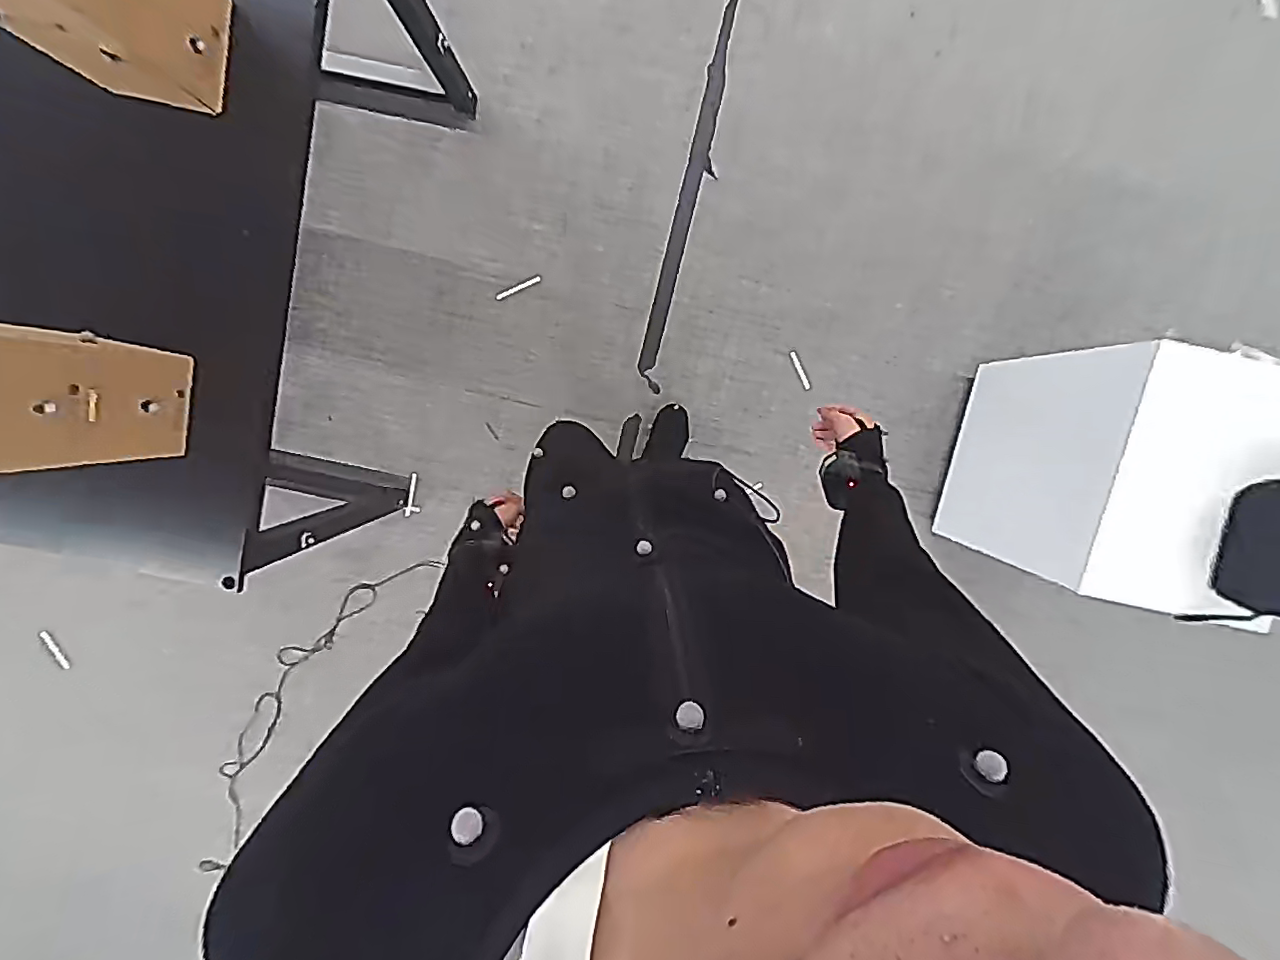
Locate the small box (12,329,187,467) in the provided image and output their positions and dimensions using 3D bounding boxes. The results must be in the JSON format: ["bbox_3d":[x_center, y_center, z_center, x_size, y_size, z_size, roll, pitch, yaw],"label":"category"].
[{"bbox_3d":[-0.824,-0.123,0.799,0.179,0.176,0.168,11,97,-2],"label":"small box"}]

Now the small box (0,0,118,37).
[{"bbox_3d":[-0.706,-0.623,0.572,0.168,0.176,0.179,8,96,-1],"label":"small box"}]

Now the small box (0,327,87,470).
[{"bbox_3d":[-0.826,-0.103,0.635,0.179,0.176,0.168,12,98,-2],"label":"small box"}]

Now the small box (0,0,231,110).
[{"bbox_3d":[-0.713,-0.644,0.735,0.179,0.176,0.168,12,97,-2],"label":"small box"}]
